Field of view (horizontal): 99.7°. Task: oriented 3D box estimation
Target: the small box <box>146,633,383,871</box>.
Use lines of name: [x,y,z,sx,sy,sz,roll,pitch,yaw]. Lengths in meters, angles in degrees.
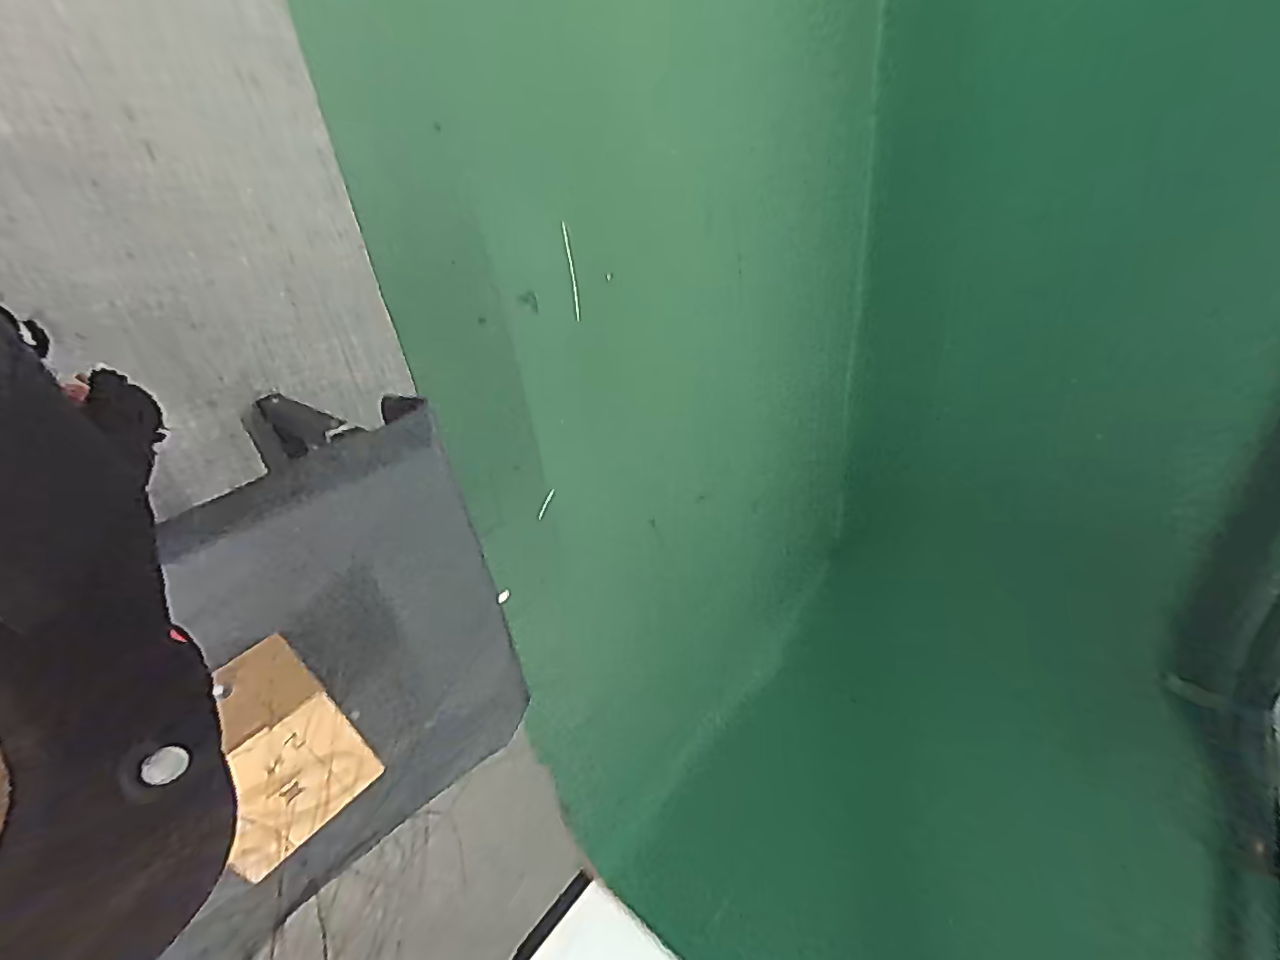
small box: [-0.467,0.329,0.682,0.168,0.176,0.179,-38,131,-36]
